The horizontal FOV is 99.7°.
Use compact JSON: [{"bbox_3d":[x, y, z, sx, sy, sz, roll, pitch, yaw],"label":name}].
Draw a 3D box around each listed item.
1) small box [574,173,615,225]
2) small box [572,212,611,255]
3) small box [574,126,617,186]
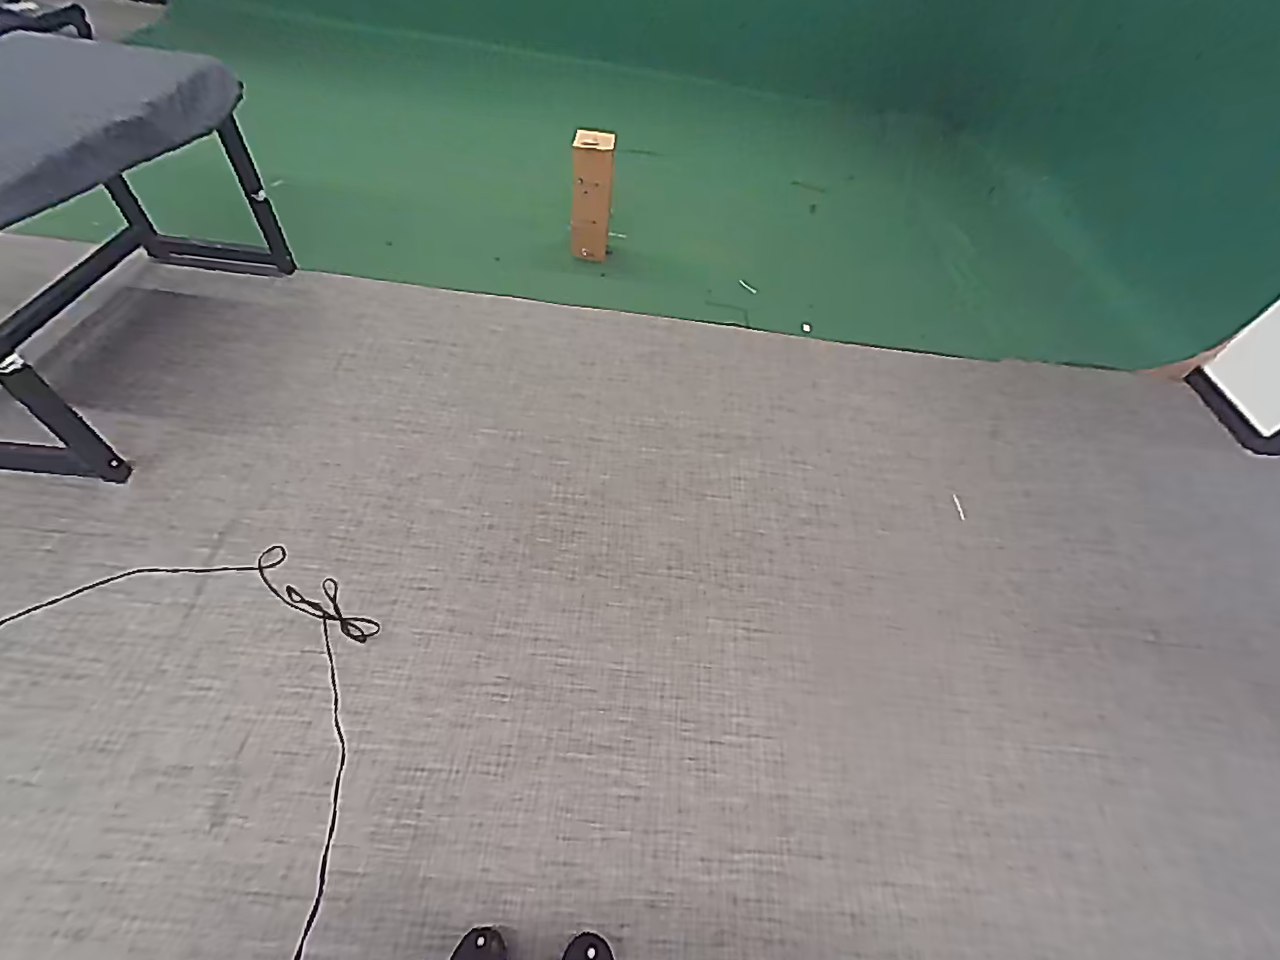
[{"bbox_3d":[-0.210,-1.293,2.463,0.168,0.176,0.179,7,51,-2],"label":"small box"},{"bbox_3d":[-0.229,-1.204,2.576,0.168,0.176,0.179,7,52,0],"label":"small box"},{"bbox_3d":[-0.191,-1.395,2.335,0.168,0.176,0.179,6,51,-3],"label":"small box"}]
